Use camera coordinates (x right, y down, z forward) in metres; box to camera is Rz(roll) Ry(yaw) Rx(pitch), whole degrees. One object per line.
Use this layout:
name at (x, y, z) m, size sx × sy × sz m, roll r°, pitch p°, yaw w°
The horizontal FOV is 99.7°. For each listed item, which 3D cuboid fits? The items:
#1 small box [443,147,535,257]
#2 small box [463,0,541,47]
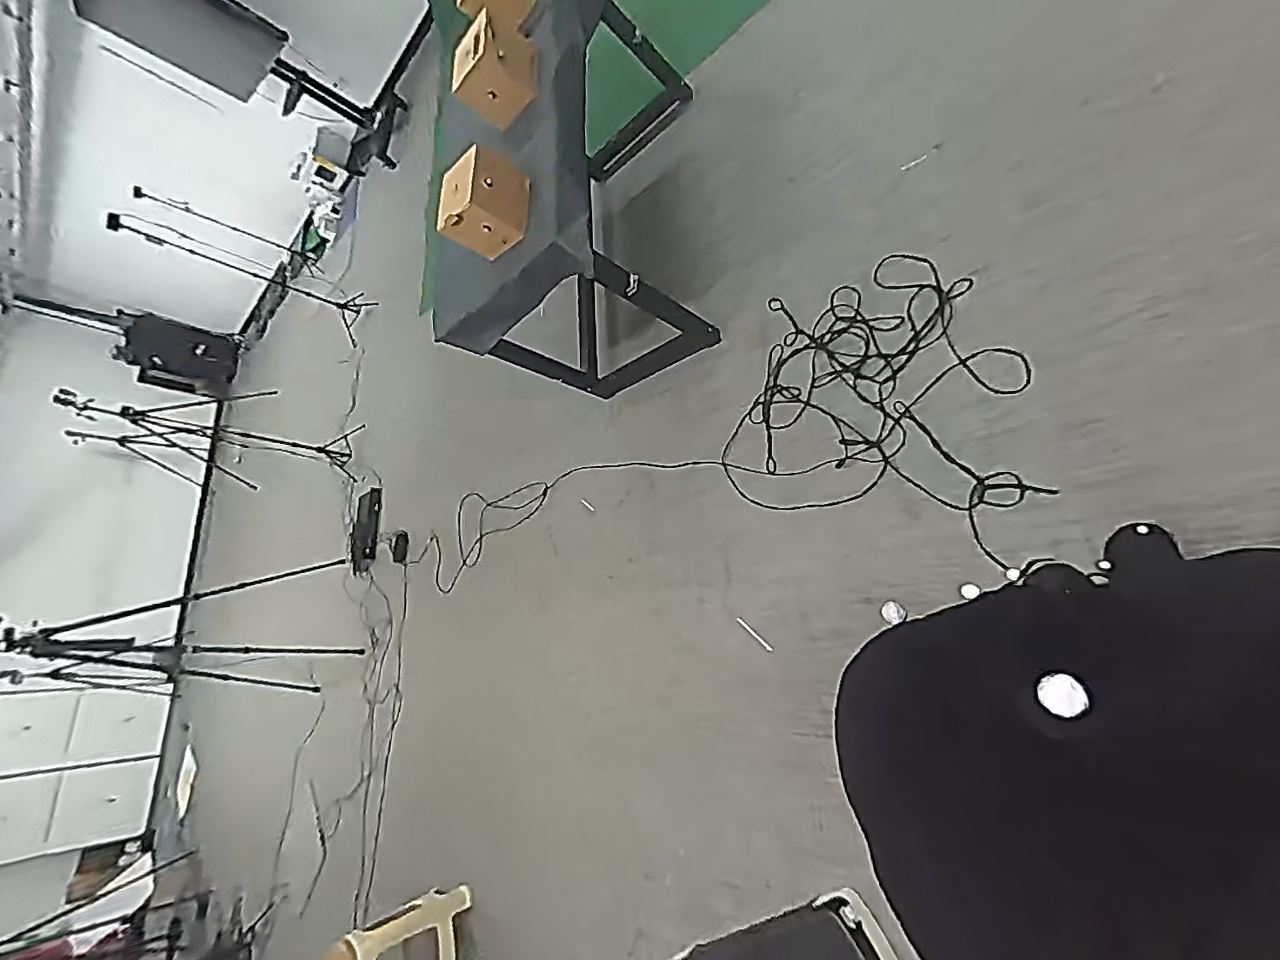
small box at (-0.395, -0.718, 1.429) m, size 0.168 × 0.176 × 0.179 m, roll -10°, pitch 72°, yaw 42°
small box at (-0.421, -1.490, 1.648) m, size 0.179 × 0.176 × 0.168 m, roll -25°, pitch 64°, yaw 38°
